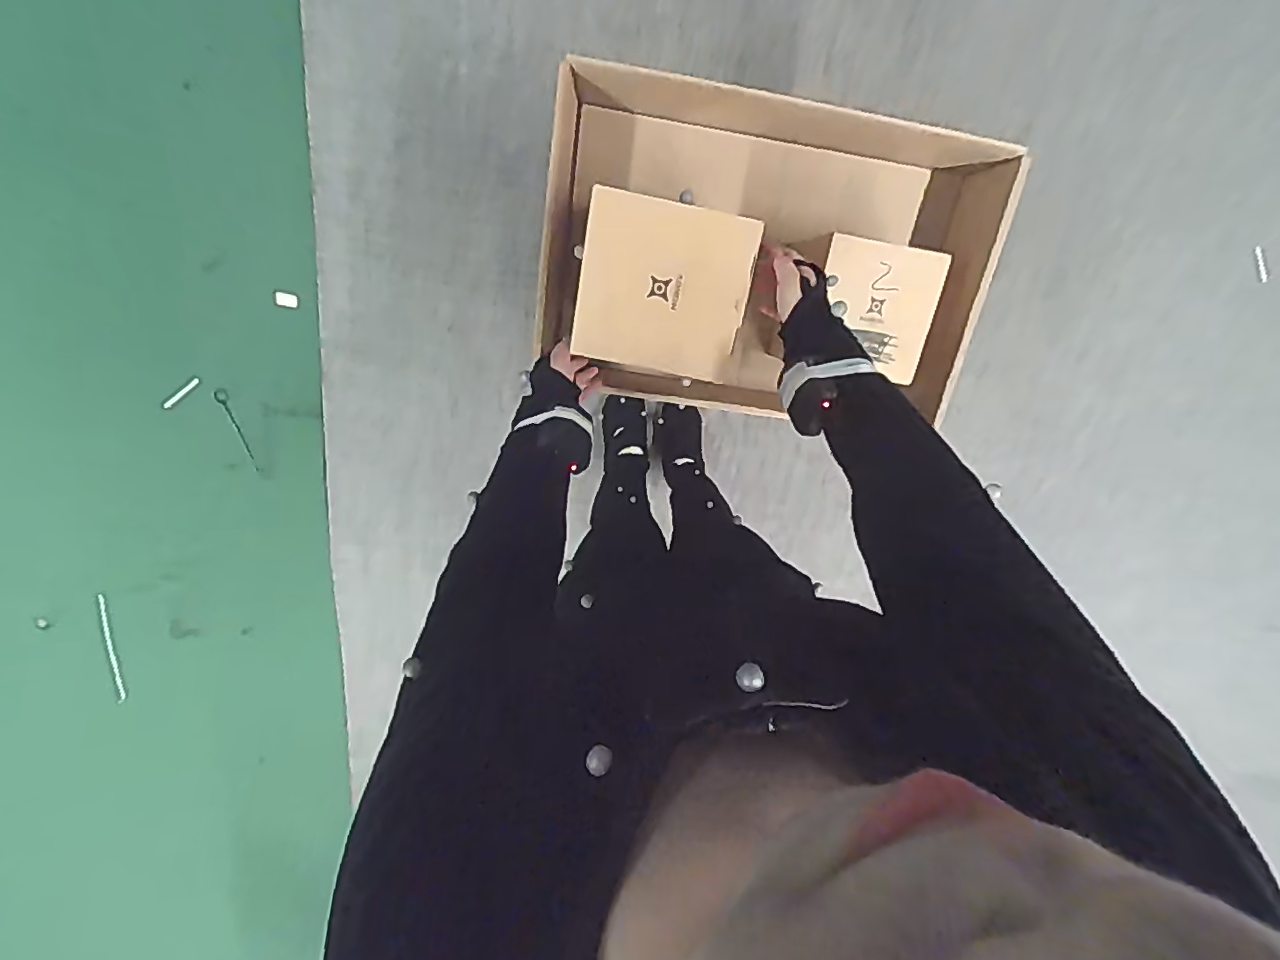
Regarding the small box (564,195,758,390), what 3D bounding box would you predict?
[{"bbox_3d":[0.015,-0.212,0.633,0.179,0.176,0.168,10,108,-6],"label":"small box"}]
